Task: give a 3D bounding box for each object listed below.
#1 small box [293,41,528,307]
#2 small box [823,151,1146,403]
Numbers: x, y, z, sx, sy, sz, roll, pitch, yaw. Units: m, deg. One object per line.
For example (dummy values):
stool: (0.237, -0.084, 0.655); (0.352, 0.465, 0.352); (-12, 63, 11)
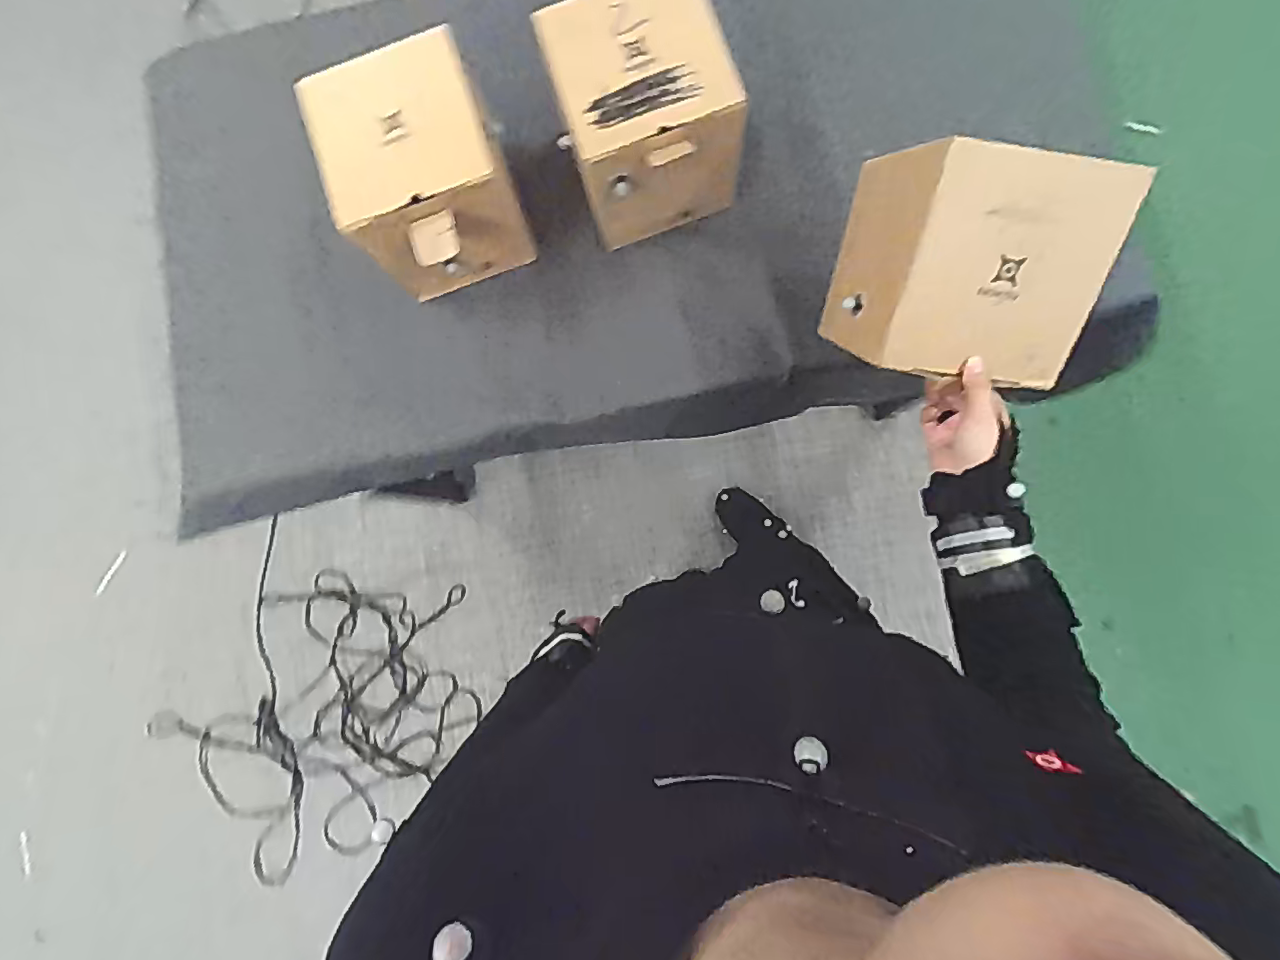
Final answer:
small box: (-0.248, -0.333, 0.621); (0.168, 0.176, 0.179); (-20, 84, 2)
small box: (0.292, -0.189, 0.511); (0.168, 0.176, 0.179); (6, 114, -6)
